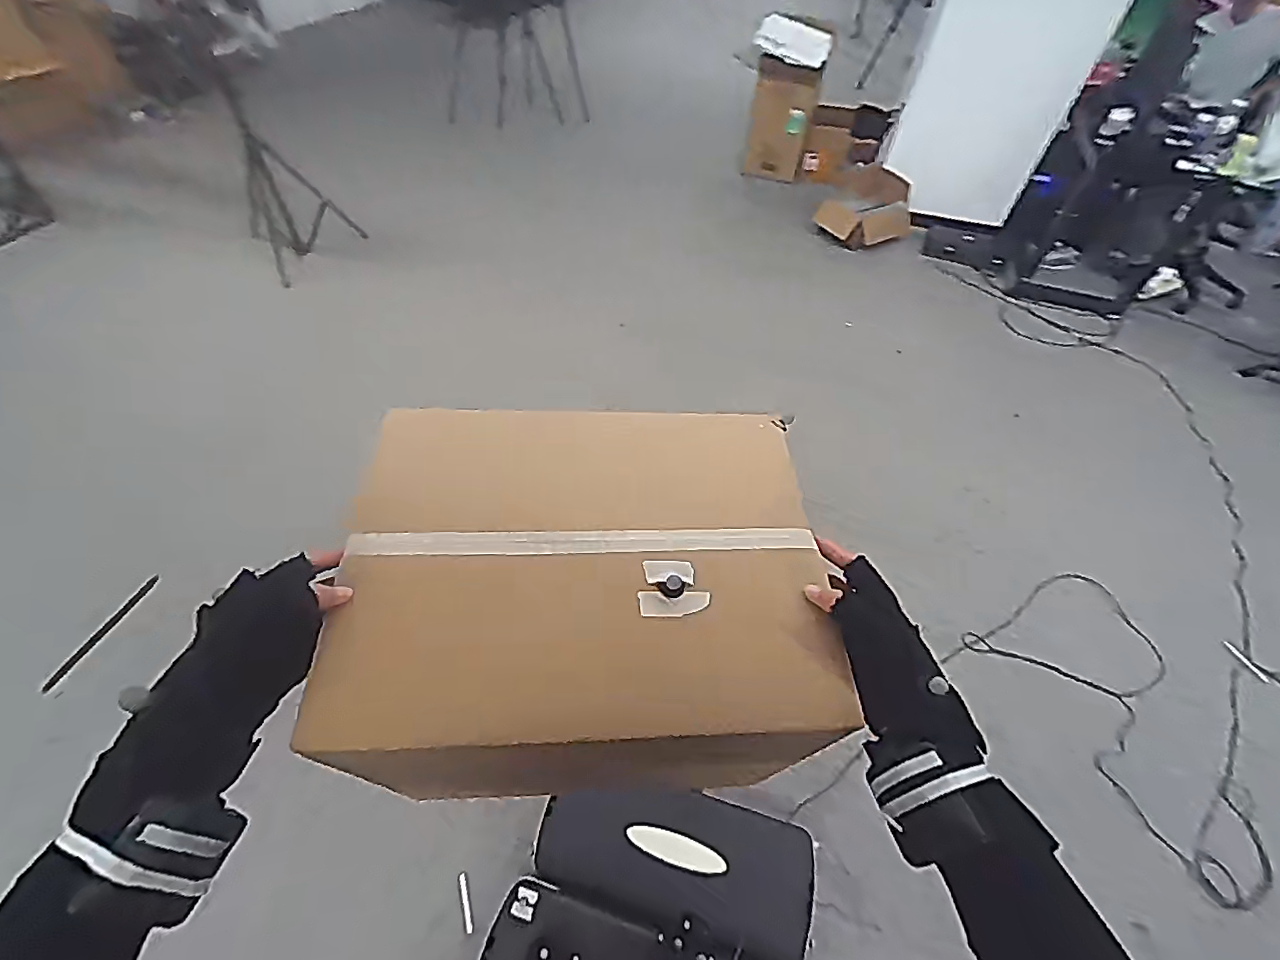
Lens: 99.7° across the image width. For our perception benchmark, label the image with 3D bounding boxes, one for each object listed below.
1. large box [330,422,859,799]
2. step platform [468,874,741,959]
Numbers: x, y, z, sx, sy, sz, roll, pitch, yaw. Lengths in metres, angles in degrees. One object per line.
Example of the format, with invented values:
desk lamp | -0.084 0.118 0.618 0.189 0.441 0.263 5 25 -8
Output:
large box | -0.046 0.152 0.605 0.408 0.320 0.320 1 54 -6
step platform | -0.033 1.102 1.132 0.684 0.204 0.286 14 52 10
